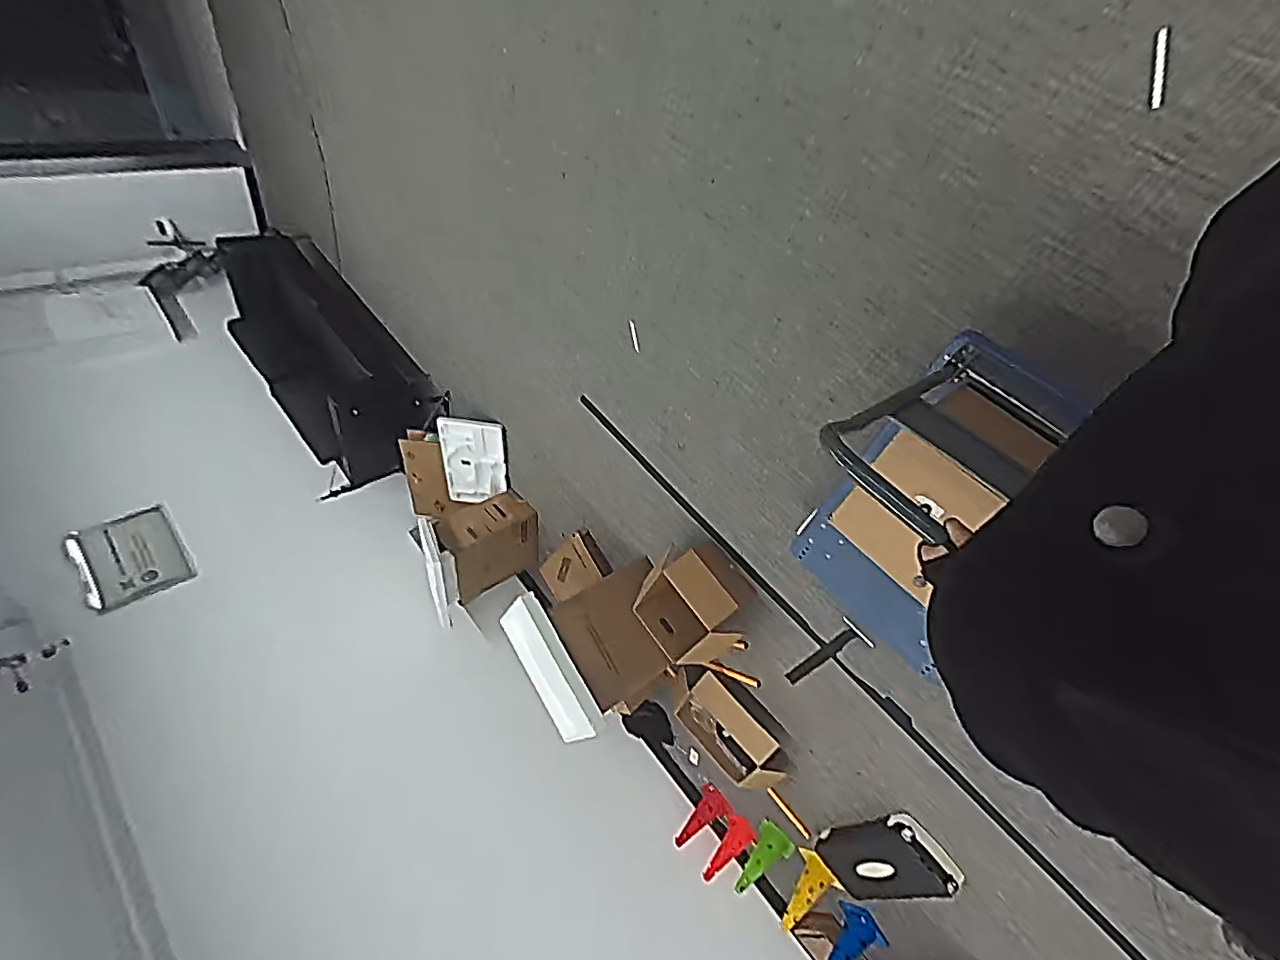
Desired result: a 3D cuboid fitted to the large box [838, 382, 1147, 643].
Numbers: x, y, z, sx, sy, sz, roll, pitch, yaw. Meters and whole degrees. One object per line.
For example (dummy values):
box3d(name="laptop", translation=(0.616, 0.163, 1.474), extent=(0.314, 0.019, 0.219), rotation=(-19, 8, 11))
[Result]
box3d(name="large box", translation=(0.733, 0.056, 1.164), extent=(0.408, 0.320, 0.320), rotation=(46, 141, 24))
